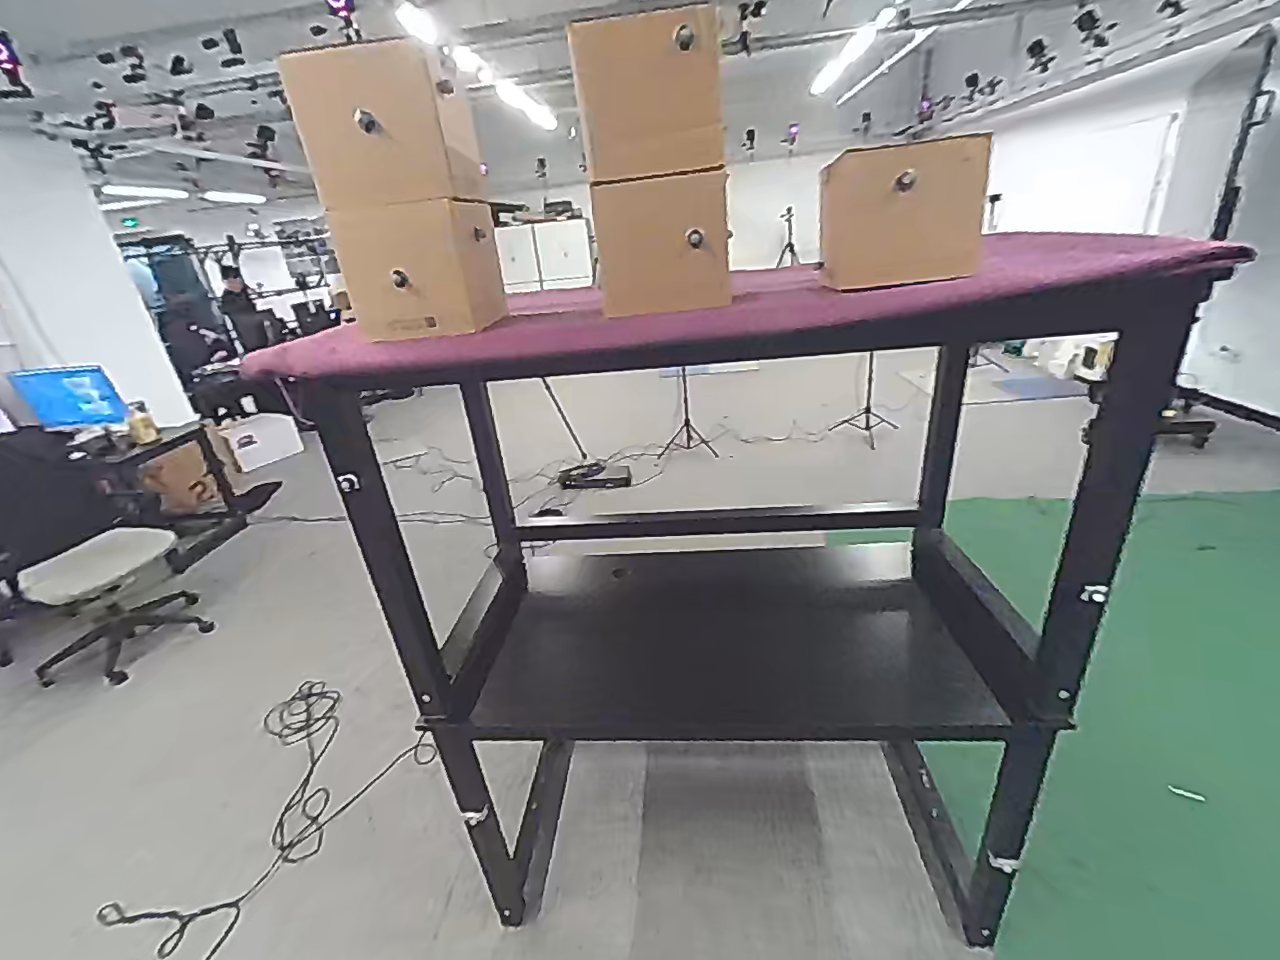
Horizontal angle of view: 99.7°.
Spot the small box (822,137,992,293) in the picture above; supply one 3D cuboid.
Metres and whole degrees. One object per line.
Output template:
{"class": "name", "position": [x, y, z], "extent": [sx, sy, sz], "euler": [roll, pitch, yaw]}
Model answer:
{"class": "small box", "position": [0.362, -0.362, 0.767], "extent": [0.179, 0.176, 0.168], "euler": [-3, 22, 9]}

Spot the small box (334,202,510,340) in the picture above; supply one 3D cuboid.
{"class": "small box", "position": [-0.301, -0.304, 0.794], "extent": [0.168, 0.176, 0.179], "euler": [-3, 25, 4]}

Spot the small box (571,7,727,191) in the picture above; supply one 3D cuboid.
{"class": "small box", "position": [0.018, -0.480, 0.719], "extent": [0.179, 0.176, 0.168], "euler": [-4, 23, 4]}

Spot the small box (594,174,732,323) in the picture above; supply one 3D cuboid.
{"class": "small box", "position": [0.040, -0.331, 0.783], "extent": [0.179, 0.176, 0.168], "euler": [-4, 23, 6]}
